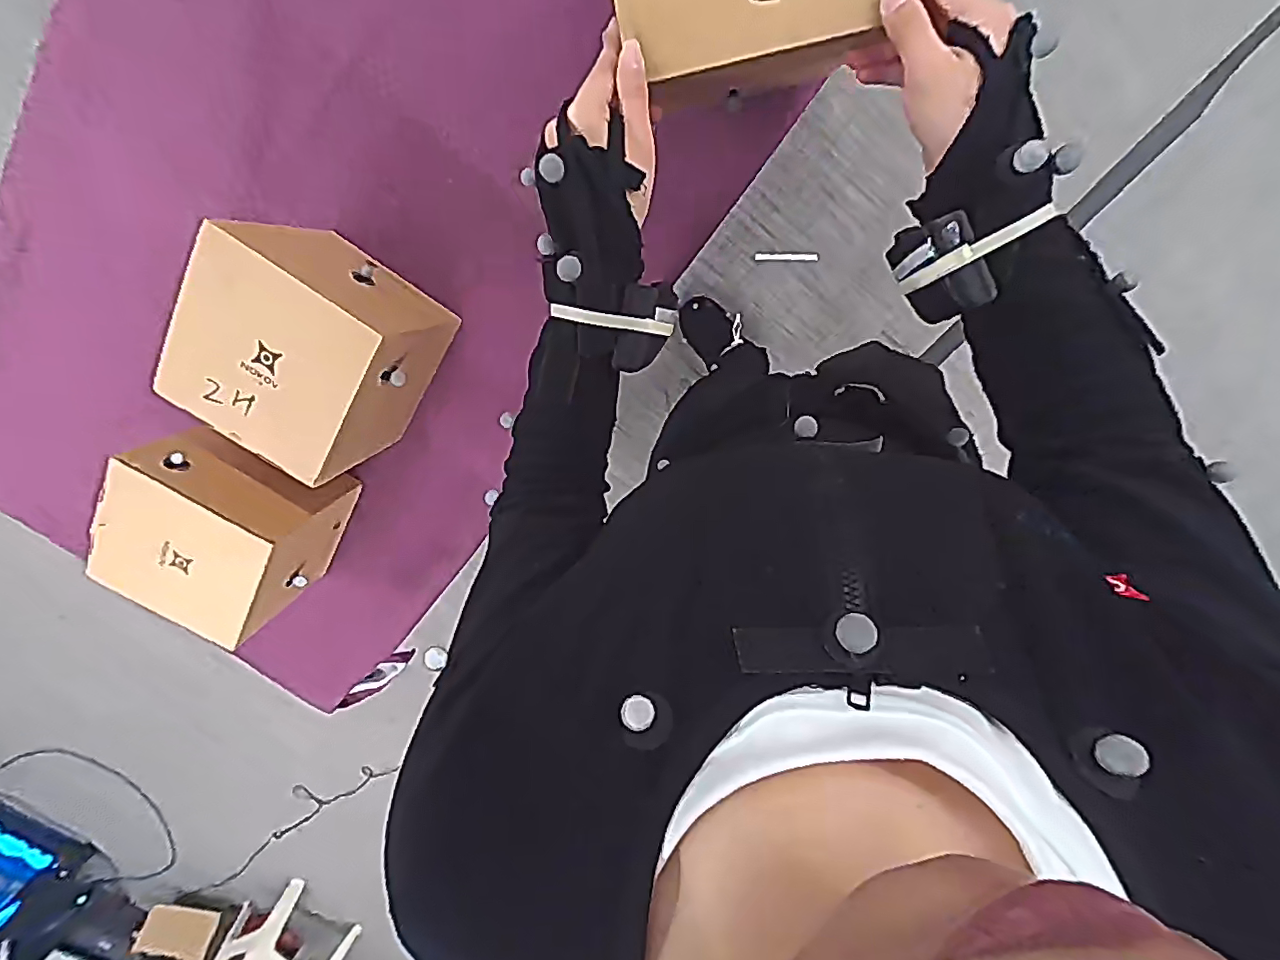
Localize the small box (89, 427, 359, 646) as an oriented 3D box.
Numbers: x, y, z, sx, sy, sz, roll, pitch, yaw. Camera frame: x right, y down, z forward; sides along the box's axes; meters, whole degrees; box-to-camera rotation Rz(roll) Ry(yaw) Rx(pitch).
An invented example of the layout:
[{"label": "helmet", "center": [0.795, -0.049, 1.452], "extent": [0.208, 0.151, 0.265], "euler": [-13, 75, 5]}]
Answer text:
[{"label": "small box", "center": [-0.473, 0.051, 0.638], "extent": [0.179, 0.176, 0.168], "euler": [31, 111, -6]}]

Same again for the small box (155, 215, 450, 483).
[{"label": "small box", "center": [-0.319, -0.133, 0.547], "extent": [0.168, 0.176, 0.179], "euler": [34, 110, -6]}]
